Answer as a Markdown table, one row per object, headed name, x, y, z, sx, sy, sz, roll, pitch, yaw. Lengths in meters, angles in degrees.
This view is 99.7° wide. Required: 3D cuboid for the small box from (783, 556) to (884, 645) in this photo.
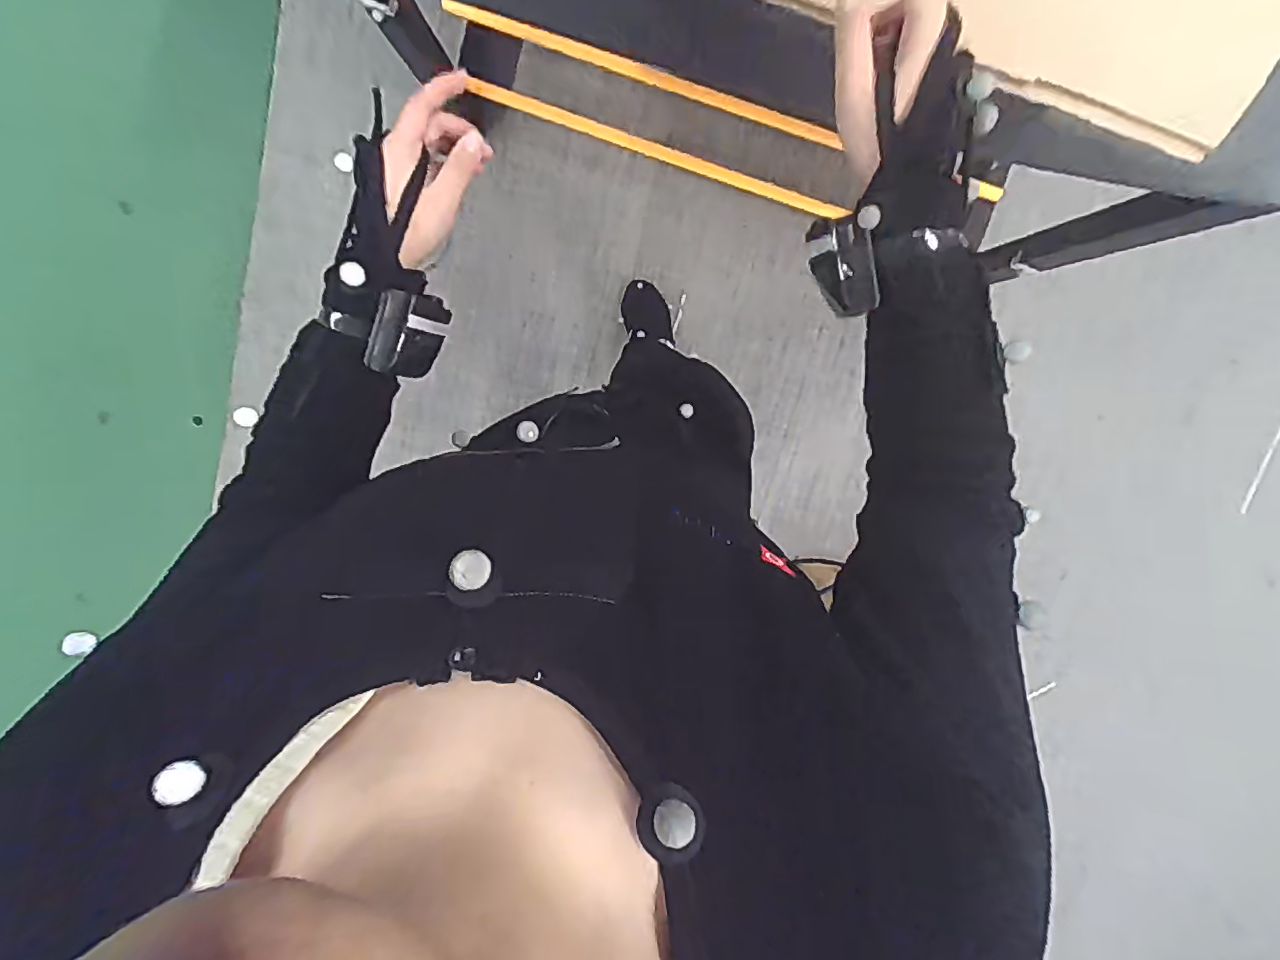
| name | x | y | z | sx | sy | sz | roll | pitch | yaw |
| --- | --- | --- | --- | --- | --- | --- | --- | --- | --- |
| small box | 0.470 | 0.303 | 1.340 | 0.168 | 0.176 | 0.179 | 11 | 100 | -3 |
